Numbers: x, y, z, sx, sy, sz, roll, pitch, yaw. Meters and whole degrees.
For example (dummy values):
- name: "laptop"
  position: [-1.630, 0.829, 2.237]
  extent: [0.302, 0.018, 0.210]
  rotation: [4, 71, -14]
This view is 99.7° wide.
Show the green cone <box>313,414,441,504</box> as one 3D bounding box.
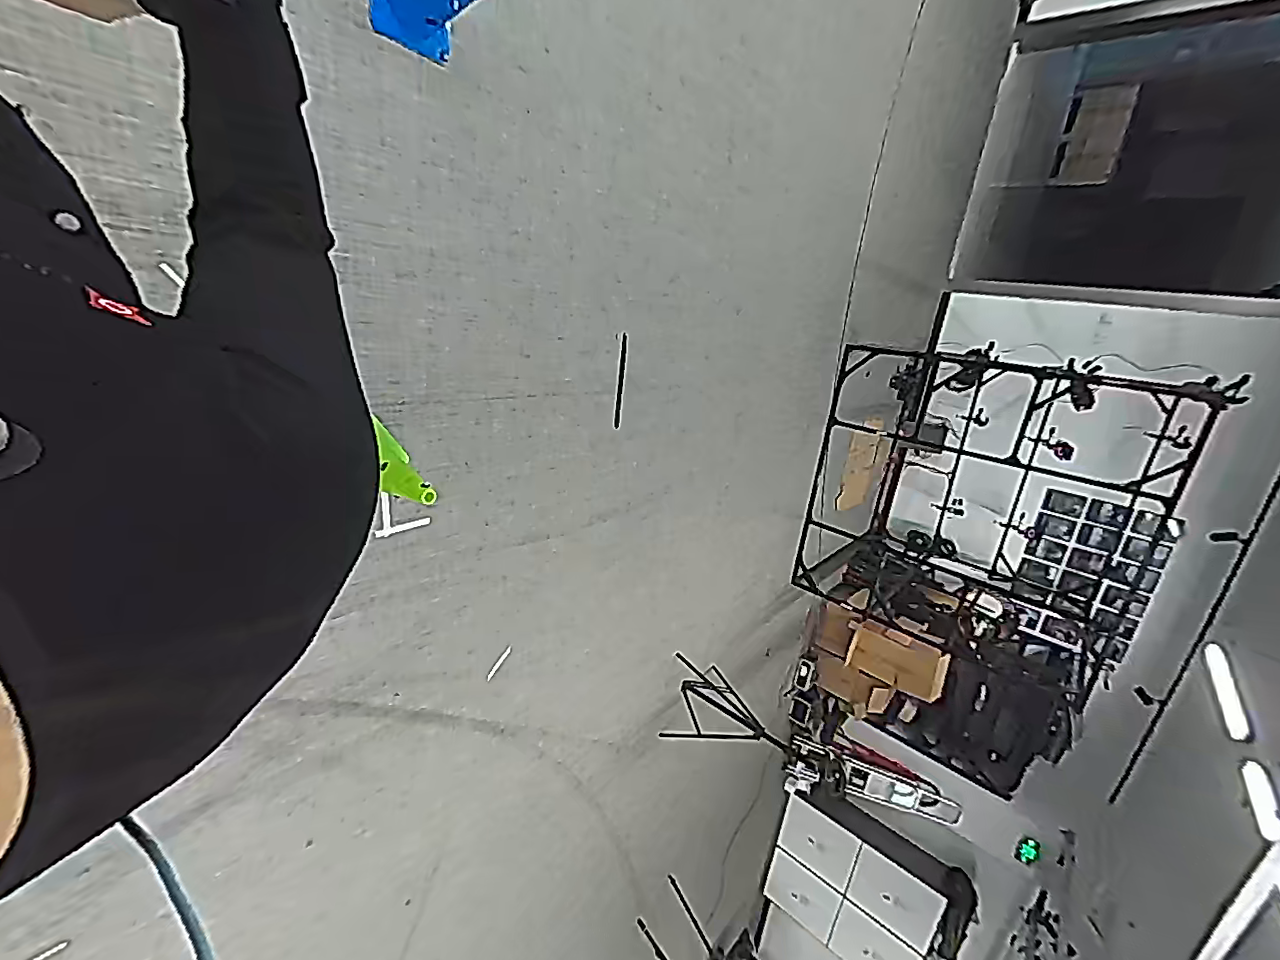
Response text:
- name: "green cone"
  position: [-0.638, -0.008, 1.404]
  extent: [0.202, 0.368, 0.200]
  rotation: [-52, 141, -25]

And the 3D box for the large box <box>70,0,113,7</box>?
- name: "large box"
  position: [-0.516, -0.512, 0.249]
  extent: [0.408, 0.320, 0.320]
  rotation: [-10, 124, -49]

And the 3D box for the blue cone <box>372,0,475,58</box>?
- name: "blue cone"
  position: [-0.415, -1.097, 1.190]
  extent: [0.192, 0.380, 0.193]
  rotation: [-10, 115, -51]
